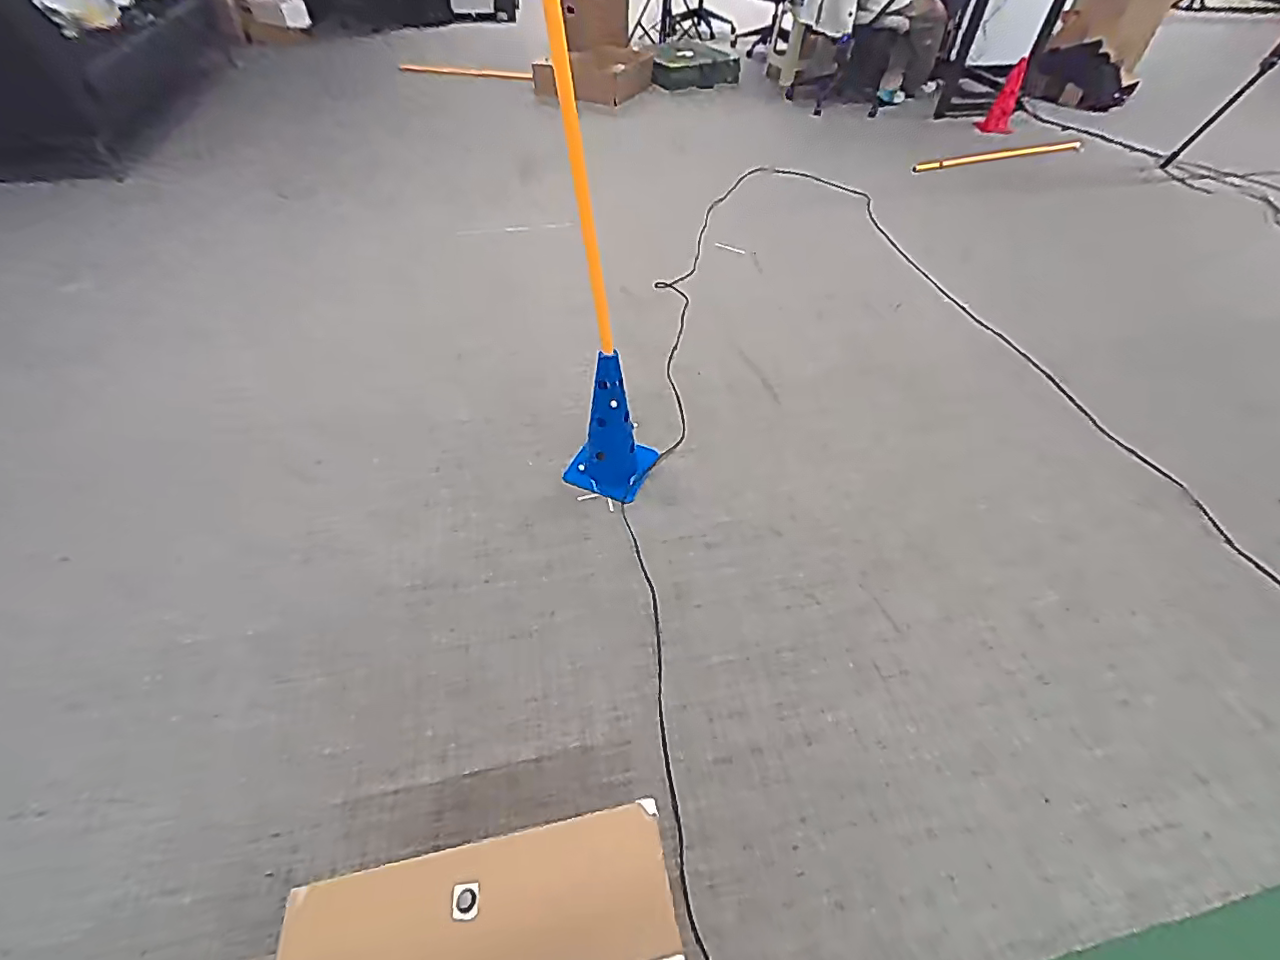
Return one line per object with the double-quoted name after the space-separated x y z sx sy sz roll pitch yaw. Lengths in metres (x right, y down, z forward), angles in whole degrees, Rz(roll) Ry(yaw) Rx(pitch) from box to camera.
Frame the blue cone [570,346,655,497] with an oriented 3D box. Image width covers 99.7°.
-0.066 -0.147 1.275 0.192 0.380 0.193 17 51 13 "blue cone"
